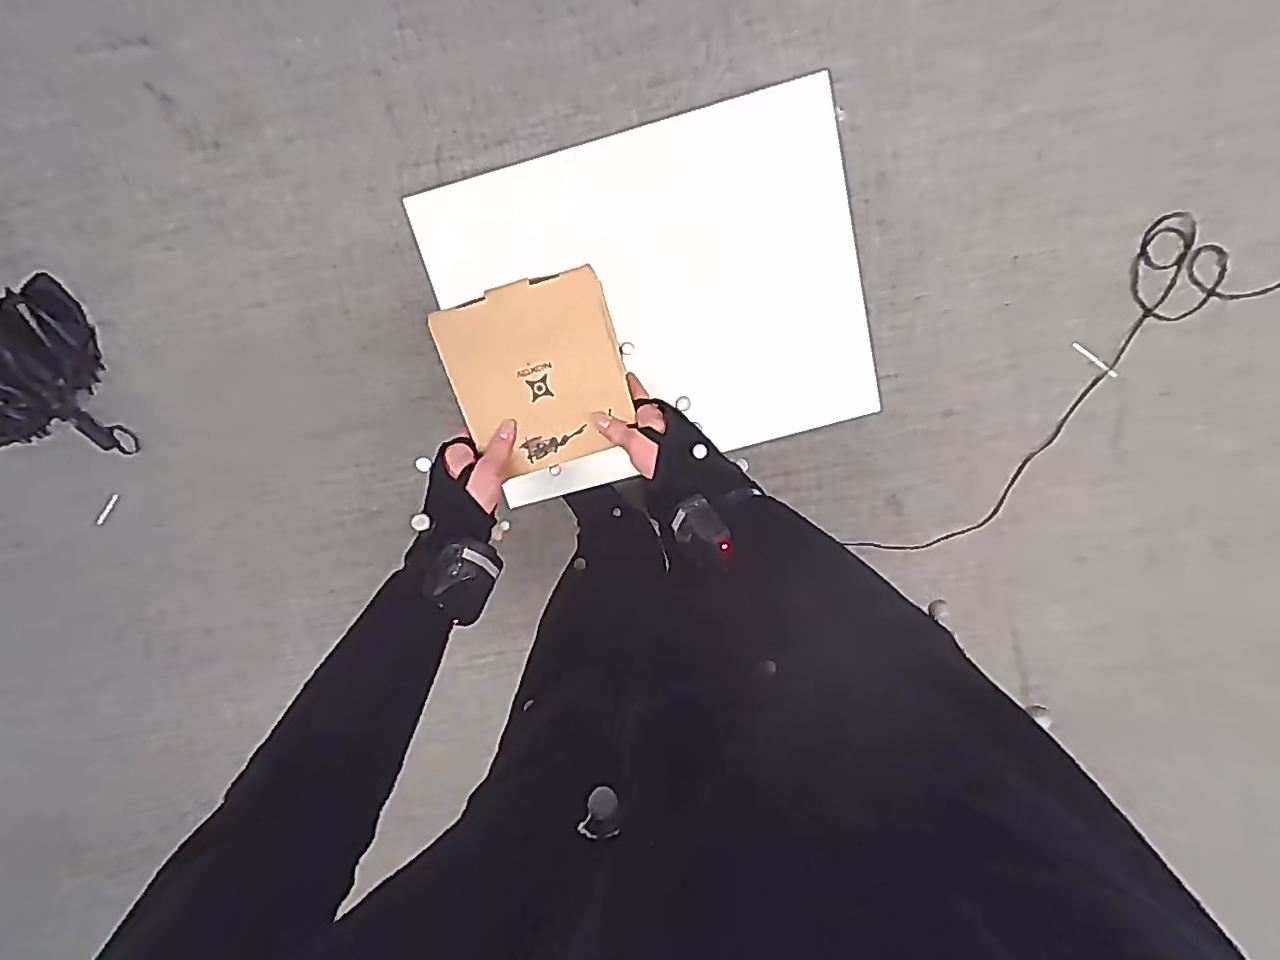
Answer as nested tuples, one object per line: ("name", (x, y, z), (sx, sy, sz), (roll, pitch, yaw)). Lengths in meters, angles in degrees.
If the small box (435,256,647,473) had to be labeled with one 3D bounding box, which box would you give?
("small box", (-0.096, -0.129, 0.607), (0.168, 0.176, 0.179), (-17, 106, 5))
